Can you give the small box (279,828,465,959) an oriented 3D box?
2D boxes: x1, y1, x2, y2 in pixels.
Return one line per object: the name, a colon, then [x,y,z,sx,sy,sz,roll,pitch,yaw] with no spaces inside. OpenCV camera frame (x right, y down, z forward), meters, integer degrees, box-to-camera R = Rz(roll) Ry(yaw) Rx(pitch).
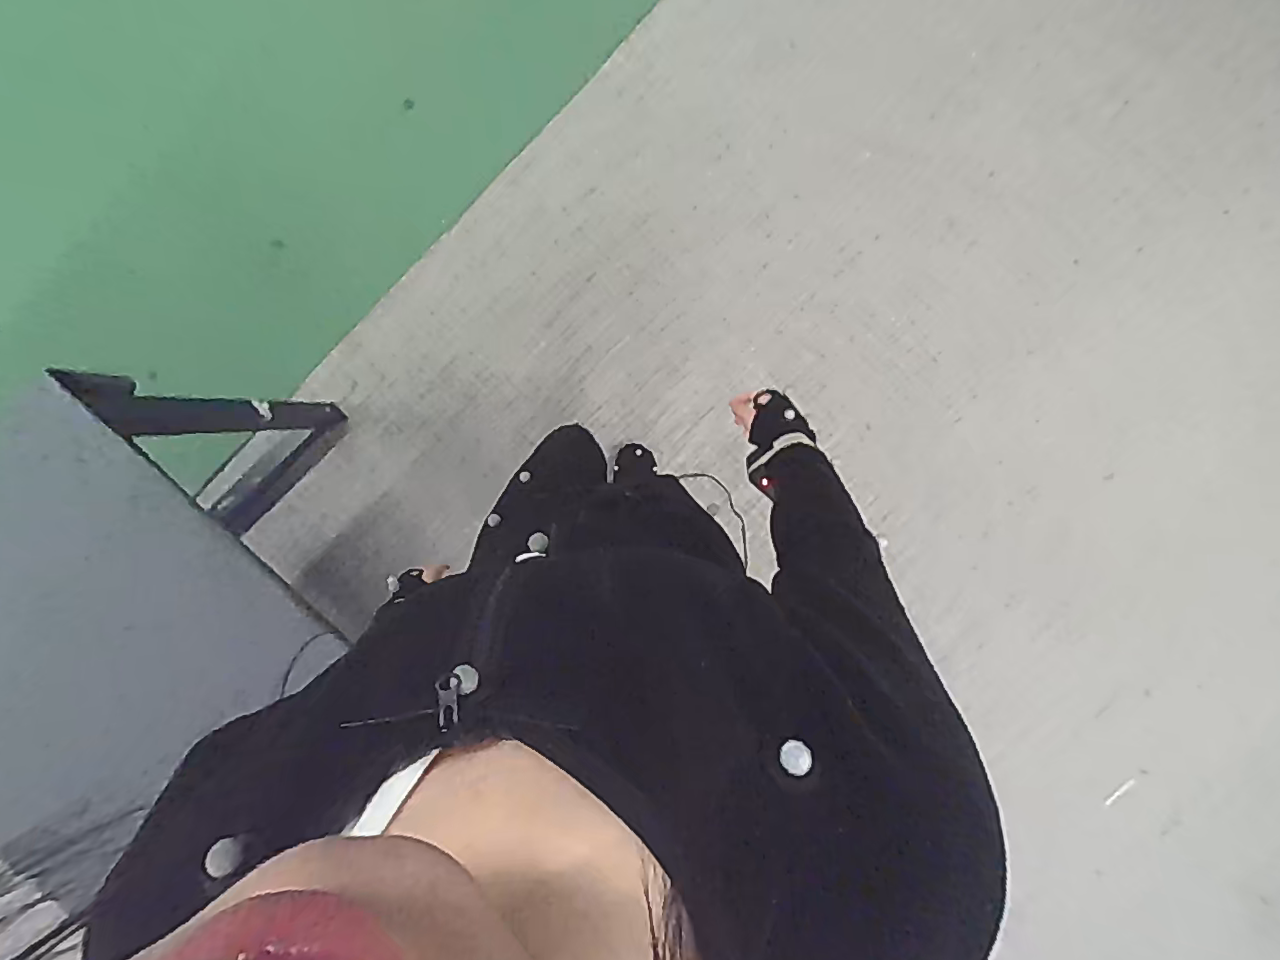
small box: [-0.372,0.646,0.762,0.179,0.176,0.168,-37,96,5]
